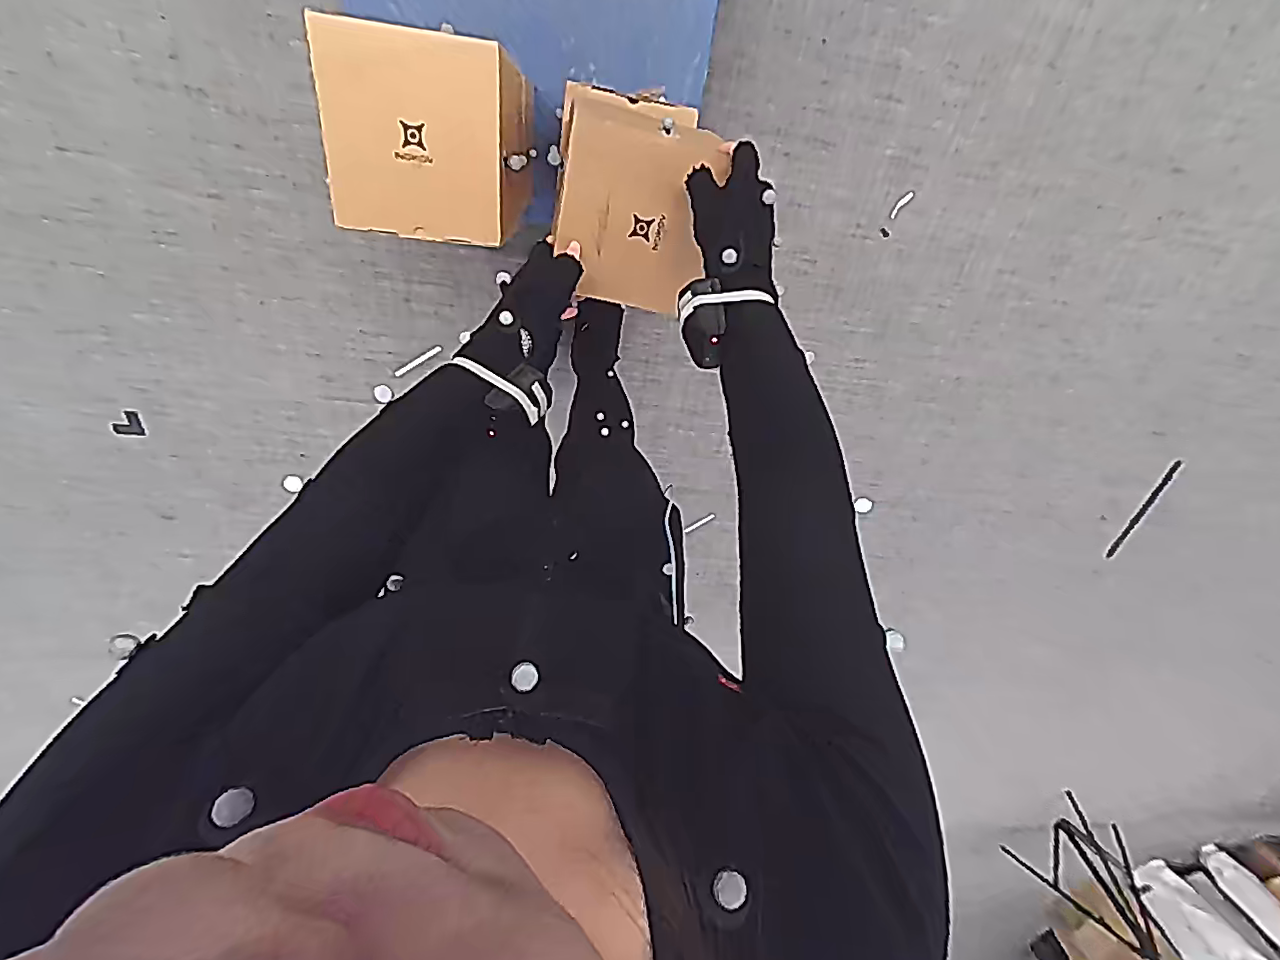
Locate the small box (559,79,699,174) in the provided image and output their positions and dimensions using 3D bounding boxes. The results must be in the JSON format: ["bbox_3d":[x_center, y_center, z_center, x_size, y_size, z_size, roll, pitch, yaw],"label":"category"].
[{"bbox_3d":[-0.028,-0.434,0.759,0.168,0.176,0.179,6,123,-9],"label":"small box"}]

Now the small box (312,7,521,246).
[{"bbox_3d":[-0.222,-0.371,0.586,0.168,0.176,0.179,4,123,-8],"label":"small box"}]

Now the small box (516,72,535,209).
[{"bbox_3d":[-0.257,-0.548,0.860,0.168,0.176,0.179,3,122,-8],"label":"small box"}]

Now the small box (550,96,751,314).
[{"bbox_3d":[-0.003,-0.313,0.613,0.179,0.176,0.168,8,128,-14],"label":"small box"}]
